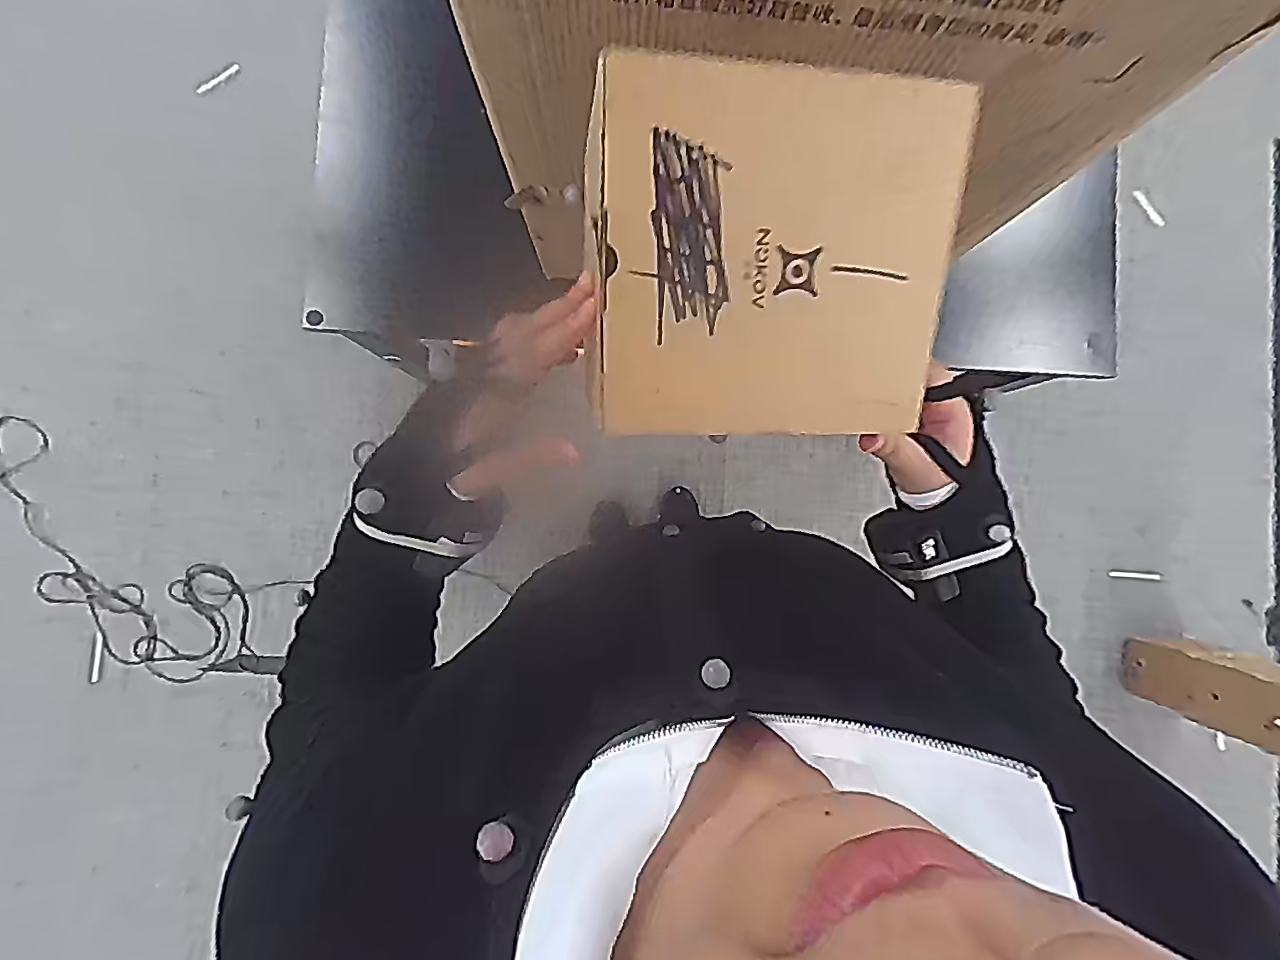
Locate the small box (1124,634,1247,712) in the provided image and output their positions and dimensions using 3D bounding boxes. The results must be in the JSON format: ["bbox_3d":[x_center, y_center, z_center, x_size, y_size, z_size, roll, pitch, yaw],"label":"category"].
[{"bbox_3d":[1.480,0.523,1.473,0.179,0.176,0.168,1,87,-1],"label":"small box"}]

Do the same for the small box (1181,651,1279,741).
[{"bbox_3d":[1.470,0.519,1.309,0.179,0.176,0.168,2,87,-2],"label":"small box"}]

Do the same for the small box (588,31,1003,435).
[{"bbox_3d":[0.059,-0.126,0.323,0.179,0.176,0.168,-1,110,-8],"label":"small box"}]

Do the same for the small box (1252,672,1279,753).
[{"bbox_3d":[1.476,0.510,1.143,0.179,0.176,0.168,-3,87,-2],"label":"small box"}]
